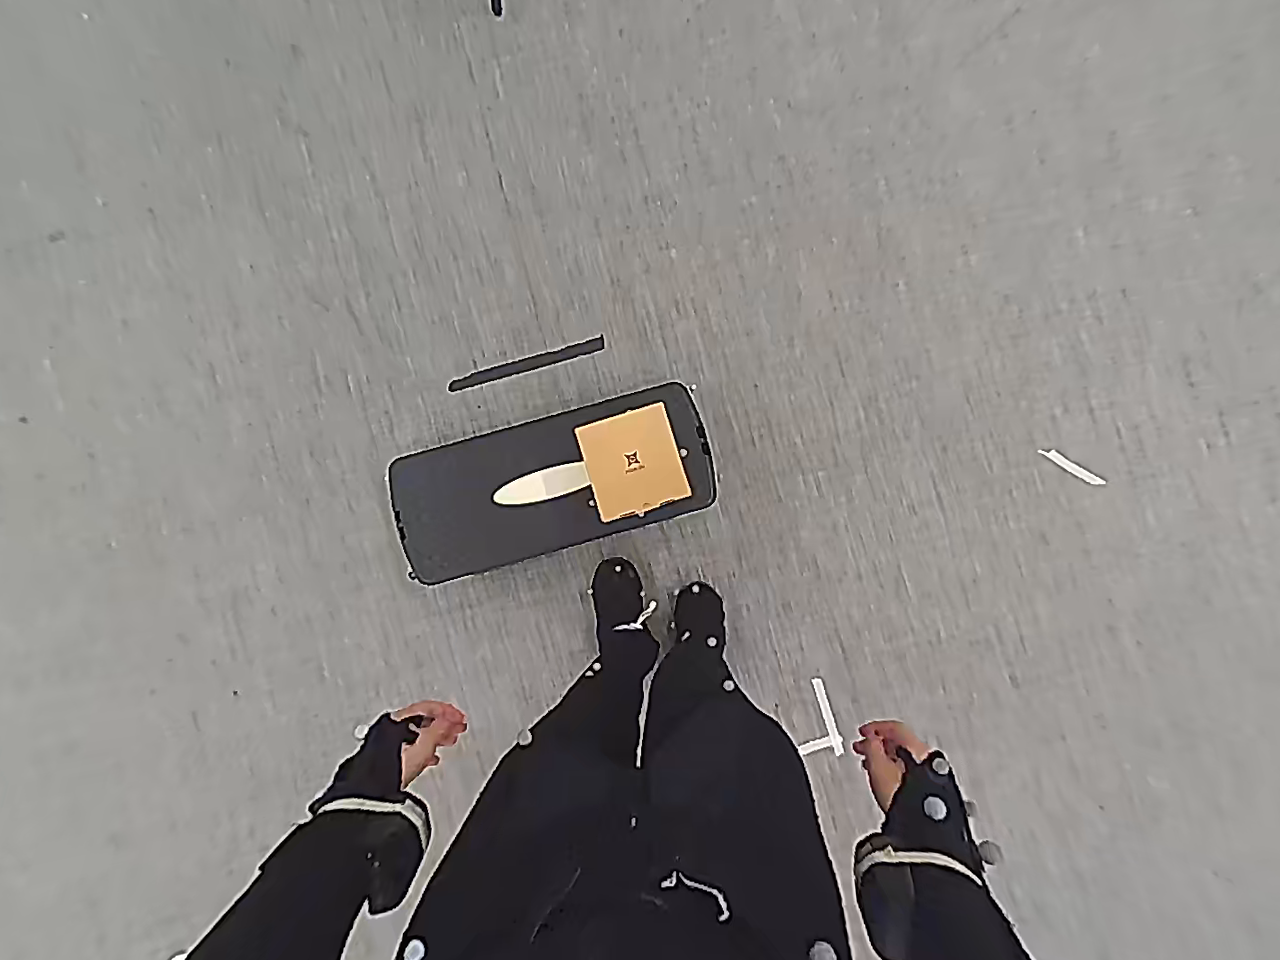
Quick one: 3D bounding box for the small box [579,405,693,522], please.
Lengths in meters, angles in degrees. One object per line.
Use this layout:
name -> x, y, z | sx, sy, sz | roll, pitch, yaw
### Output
small box -> -0.010, -0.025, 1.031 | 0.168, 0.176, 0.179 | -17, 88, -2
